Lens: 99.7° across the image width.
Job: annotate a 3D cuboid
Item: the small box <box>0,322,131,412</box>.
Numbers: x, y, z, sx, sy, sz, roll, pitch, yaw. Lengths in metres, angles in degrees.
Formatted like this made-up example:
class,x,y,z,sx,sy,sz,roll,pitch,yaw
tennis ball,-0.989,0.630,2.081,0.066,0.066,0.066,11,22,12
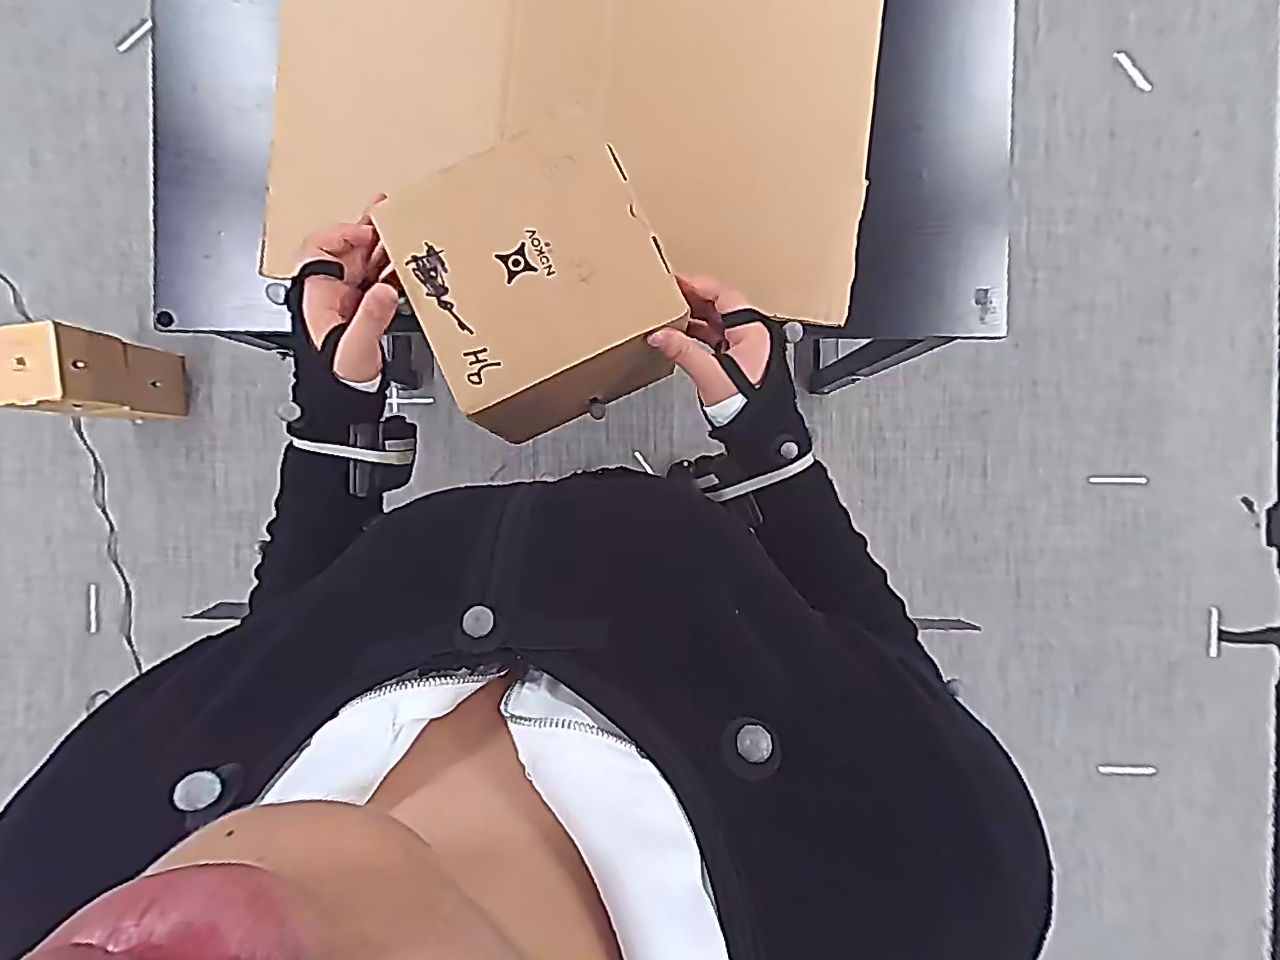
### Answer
class,x,y,z,sx,sy,sz,roll,pitch,yaw
small box,-1.356,-0.257,1.273,0.168,0.176,0.179,-6,90,0

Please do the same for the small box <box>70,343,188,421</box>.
class,x,y,z,sx,sy,sz,roll,pitch,yaw
small box,-1.353,-0.254,1.435,0.168,0.176,0.179,-3,92,1
